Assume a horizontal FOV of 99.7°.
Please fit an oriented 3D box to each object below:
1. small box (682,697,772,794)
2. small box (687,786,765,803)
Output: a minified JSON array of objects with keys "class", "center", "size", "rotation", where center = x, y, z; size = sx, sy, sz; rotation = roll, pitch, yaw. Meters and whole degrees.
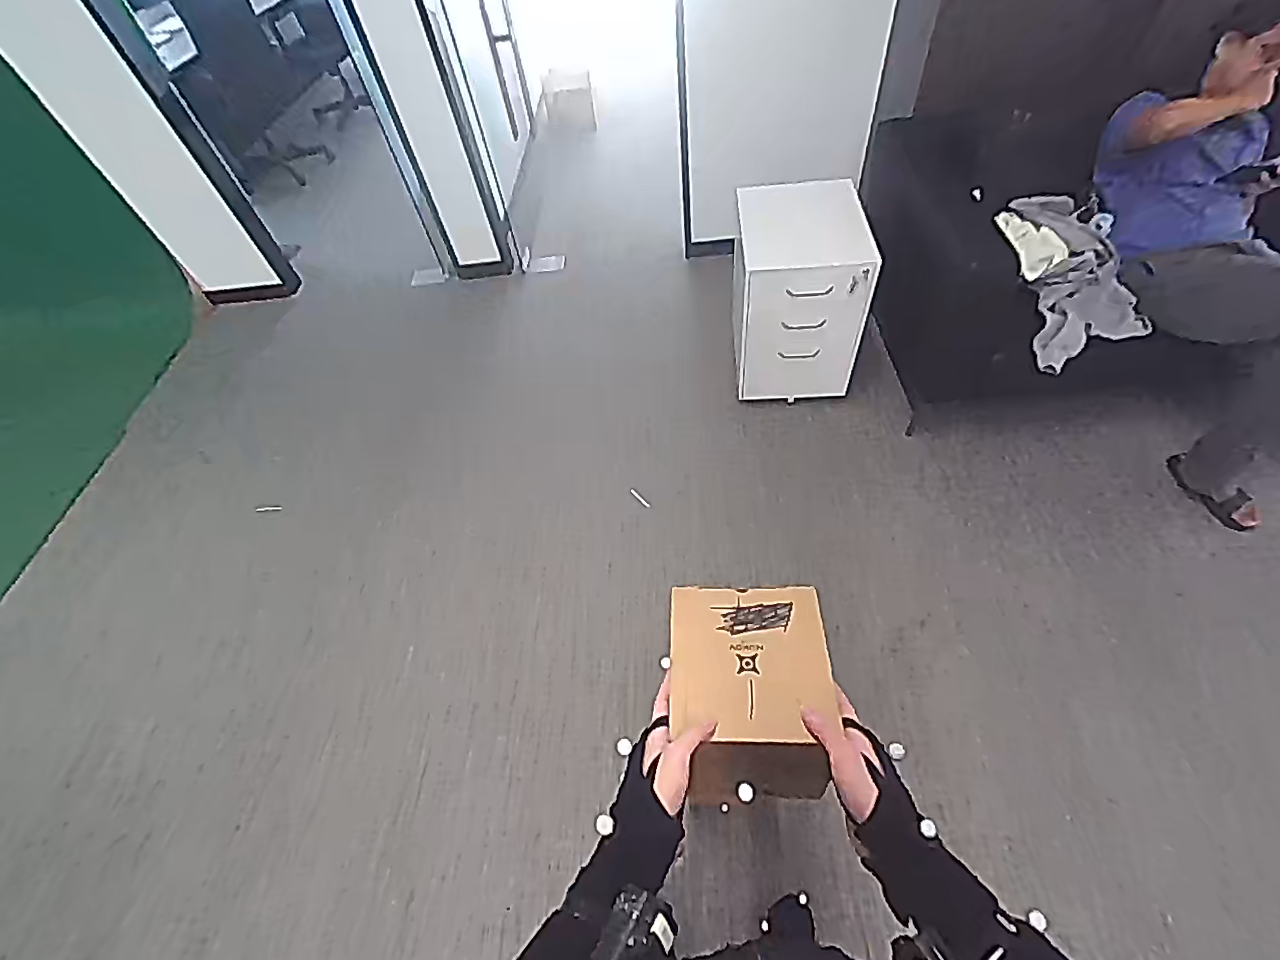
[{"class":"small box","center":[0.186,0.586,1.188],"size":[0.179,0.176,0.168],"rotation":[-2,53,4]},{"class":"small box","center":[0.202,0.683,1.319],"size":[0.179,0.176,0.168],"rotation":[-2,52,5]}]
